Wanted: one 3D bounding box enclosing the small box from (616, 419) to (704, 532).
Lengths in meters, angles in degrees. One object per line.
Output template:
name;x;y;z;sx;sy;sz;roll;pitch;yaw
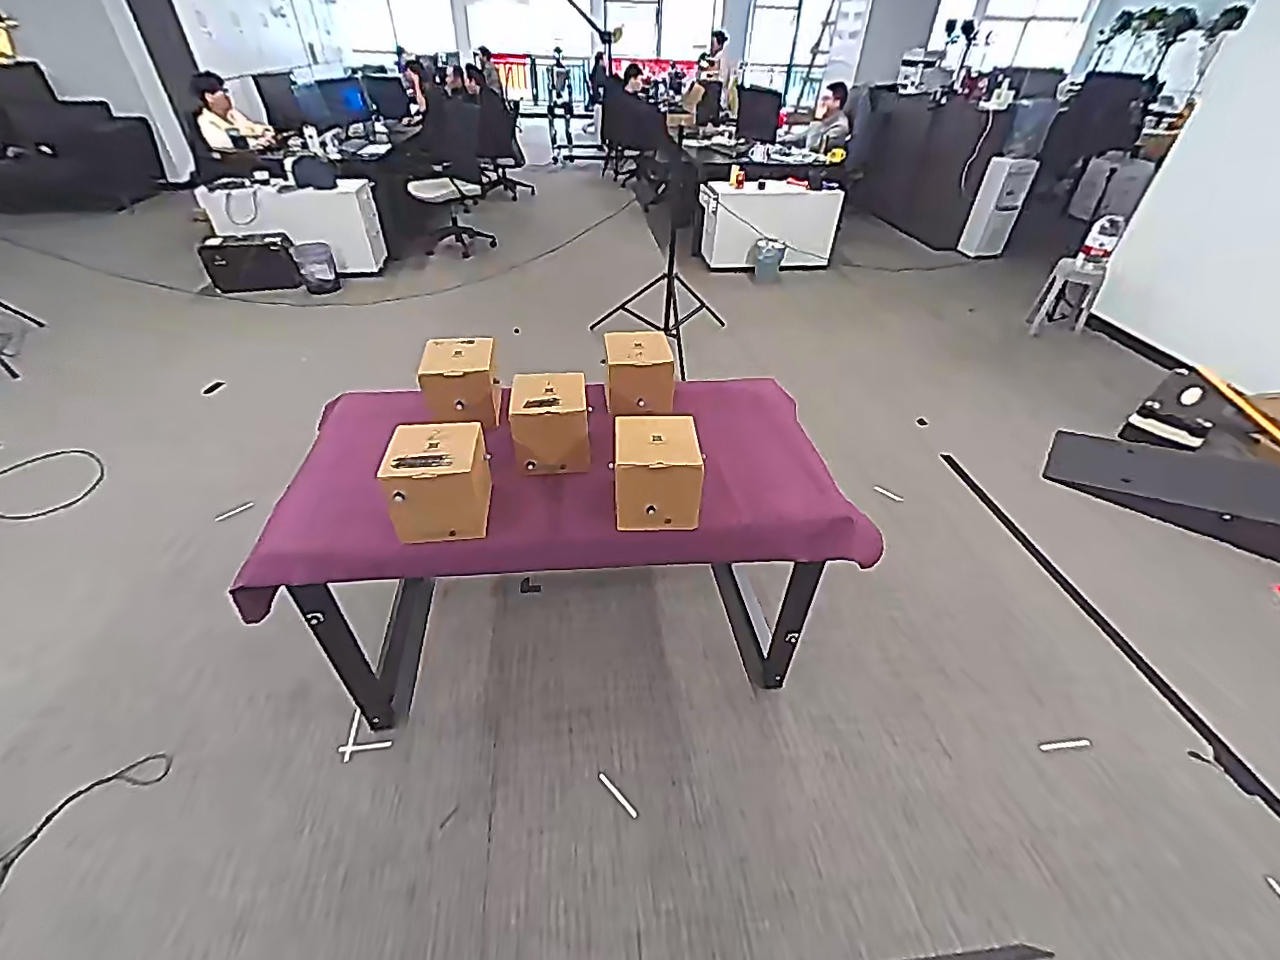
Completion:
small box;0.034;-0.011;1.130;0.168;0.176;0.179;-1;38;-3

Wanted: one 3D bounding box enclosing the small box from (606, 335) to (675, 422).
small box;-0.006;-0.272;1.443;0.168;0.176;0.179;-4;41;-6

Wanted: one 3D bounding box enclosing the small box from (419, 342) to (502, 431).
small box;-0.448;-0.235;1.381;0.168;0.176;0.179;-4;42;-7

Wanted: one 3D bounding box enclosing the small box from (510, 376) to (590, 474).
small box;-0.204;-0.126;1.261;0.168;0.176;0.179;-3;39;-6
